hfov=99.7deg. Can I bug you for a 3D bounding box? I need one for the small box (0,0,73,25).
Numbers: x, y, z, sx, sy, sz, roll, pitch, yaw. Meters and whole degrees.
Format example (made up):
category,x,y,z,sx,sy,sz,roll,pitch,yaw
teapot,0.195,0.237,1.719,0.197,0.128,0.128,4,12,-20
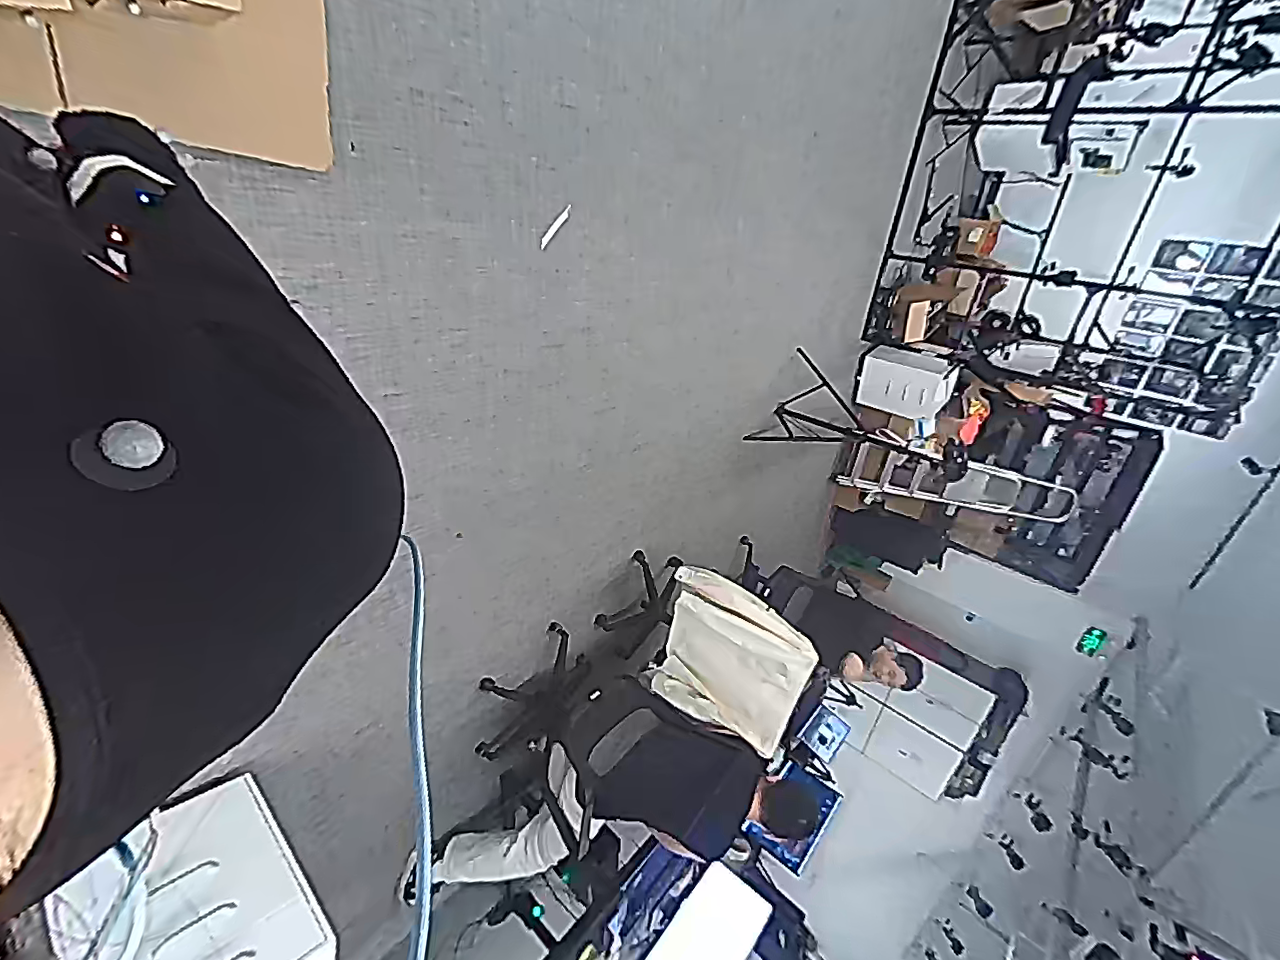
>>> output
category,x,y,z,sx,sy,sz,roll,pitch,yaw
small box,-0.890,-0.694,0.682,0.179,0.176,0.168,-34,135,-39
